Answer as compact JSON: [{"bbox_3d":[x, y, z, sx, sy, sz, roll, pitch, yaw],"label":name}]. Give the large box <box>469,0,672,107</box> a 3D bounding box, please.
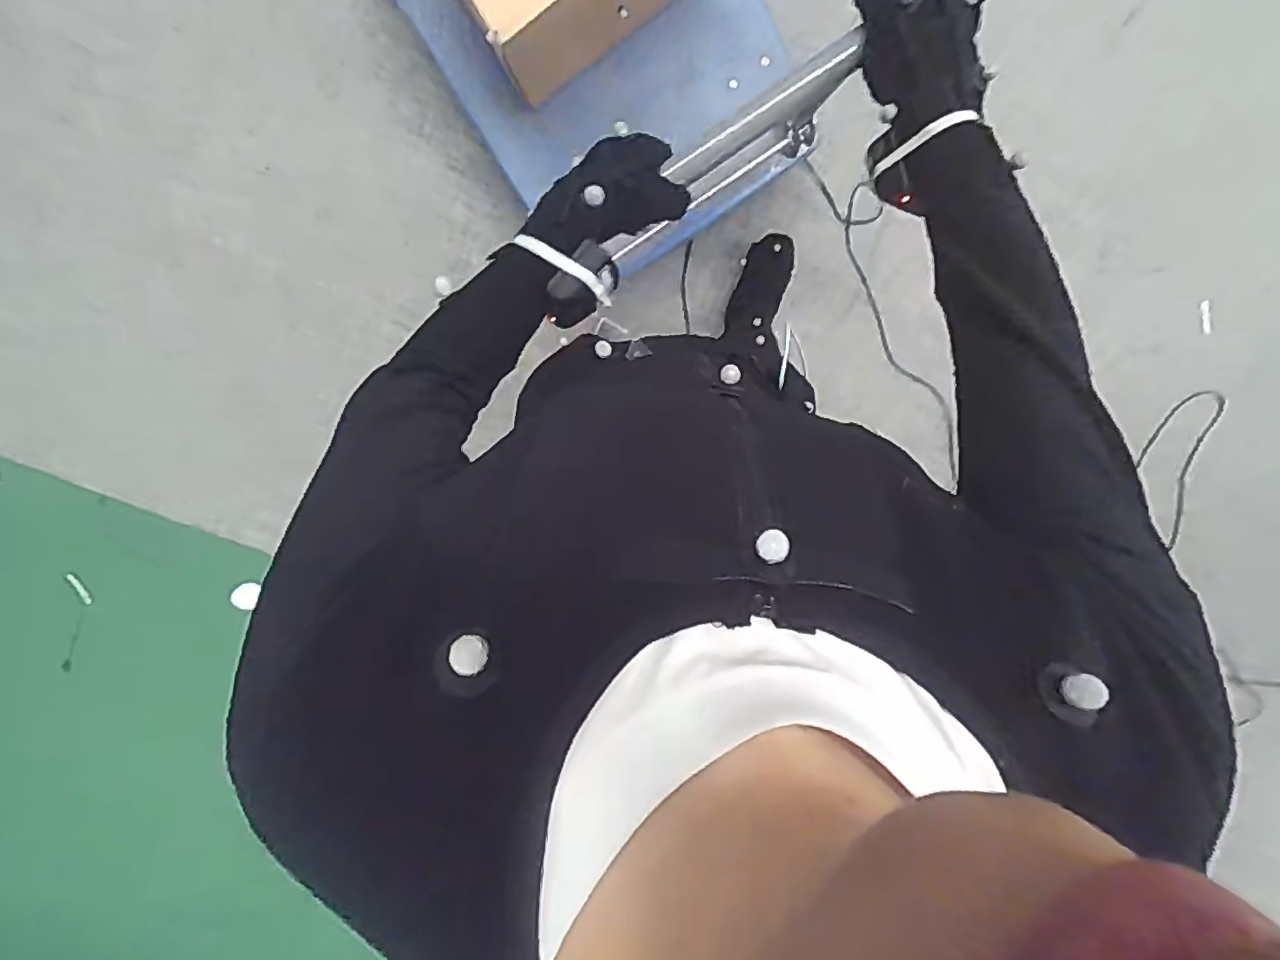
[{"bbox_3d":[-0.113,-0.890,0.836,0.408,0.320,0.320,-32,107,11],"label":"large box"}]
